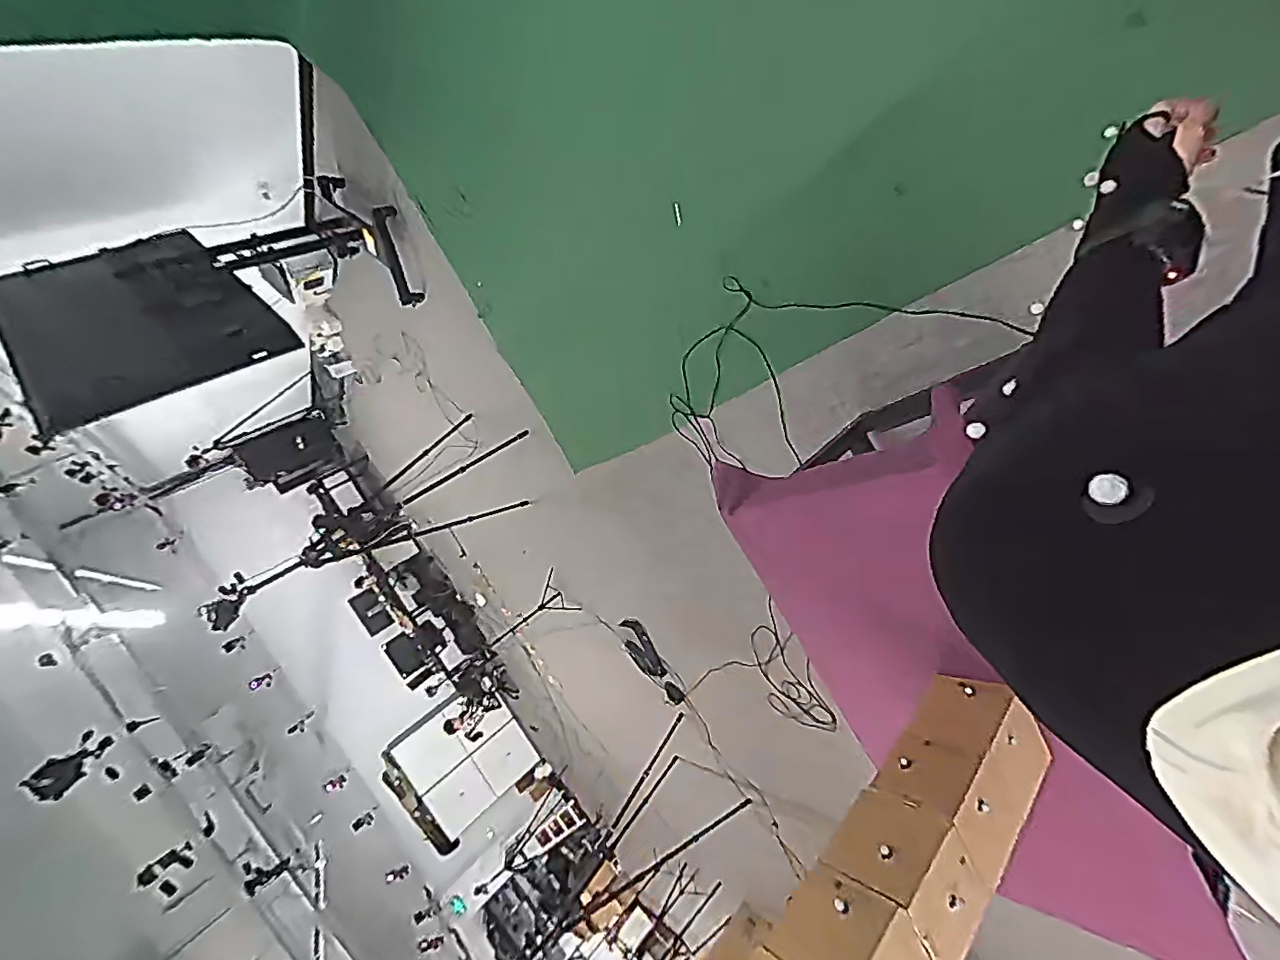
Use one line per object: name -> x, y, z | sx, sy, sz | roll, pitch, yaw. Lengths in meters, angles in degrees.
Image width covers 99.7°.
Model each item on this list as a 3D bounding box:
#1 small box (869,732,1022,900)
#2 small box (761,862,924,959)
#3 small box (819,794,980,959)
small box -> 0.569, 0.607, 1.007 | 0.168, 0.176, 0.179 | -16, 105, 57
small box -> 0.331, 0.760, 0.843 | 0.168, 0.176, 0.179 | -19, 100, 58
small box -> 0.450, 0.684, 0.927 | 0.179, 0.176, 0.168 | -16, 104, 57
